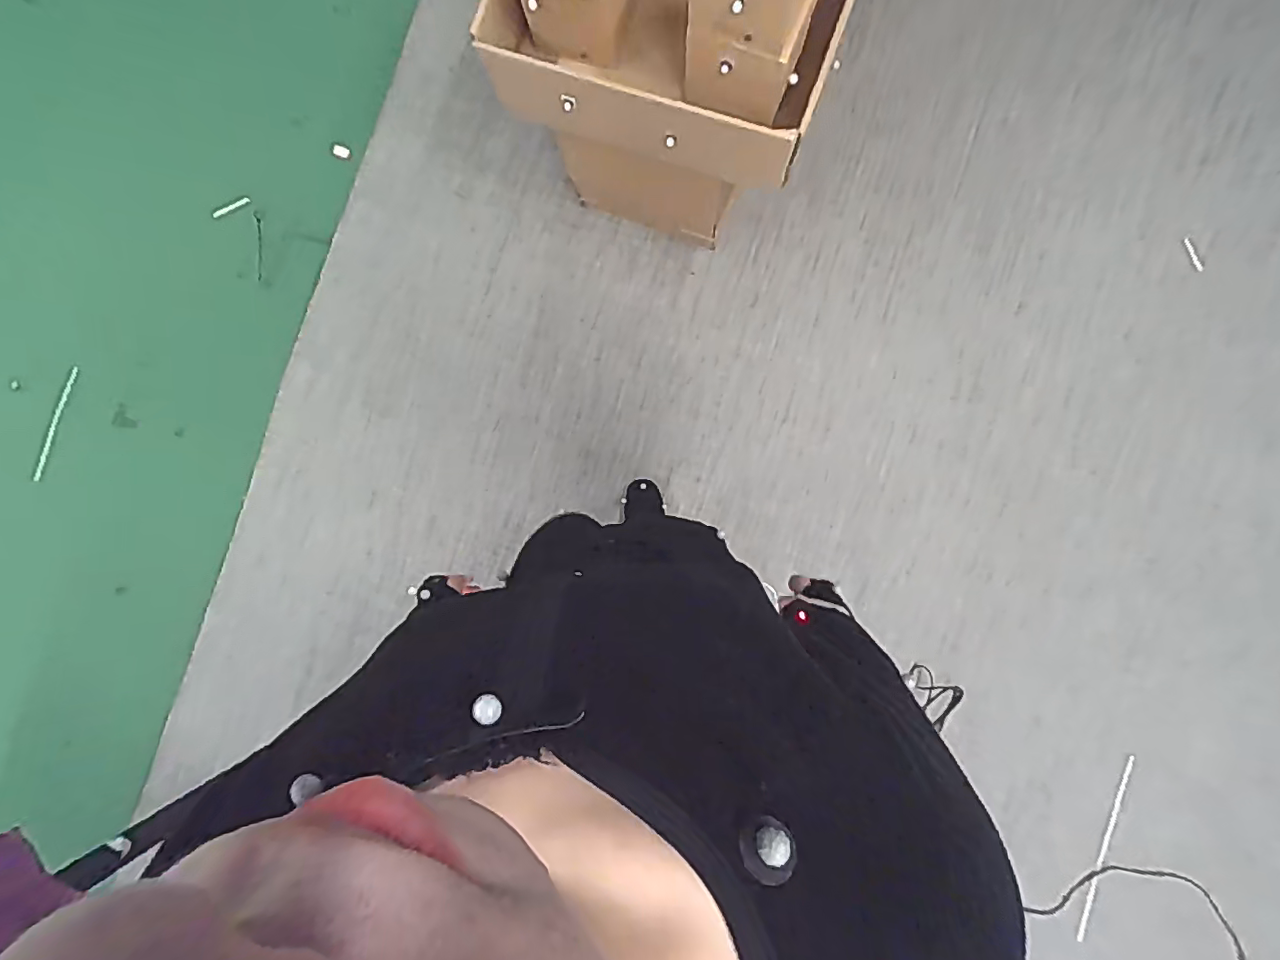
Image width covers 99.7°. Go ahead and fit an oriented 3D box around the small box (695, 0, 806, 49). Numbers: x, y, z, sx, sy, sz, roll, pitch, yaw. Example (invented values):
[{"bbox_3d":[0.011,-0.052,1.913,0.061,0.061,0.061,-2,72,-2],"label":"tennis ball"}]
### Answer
[{"bbox_3d":[0.184,-0.793,0.792,0.168,0.176,0.179,23,90,4],"label":"small box"}]
